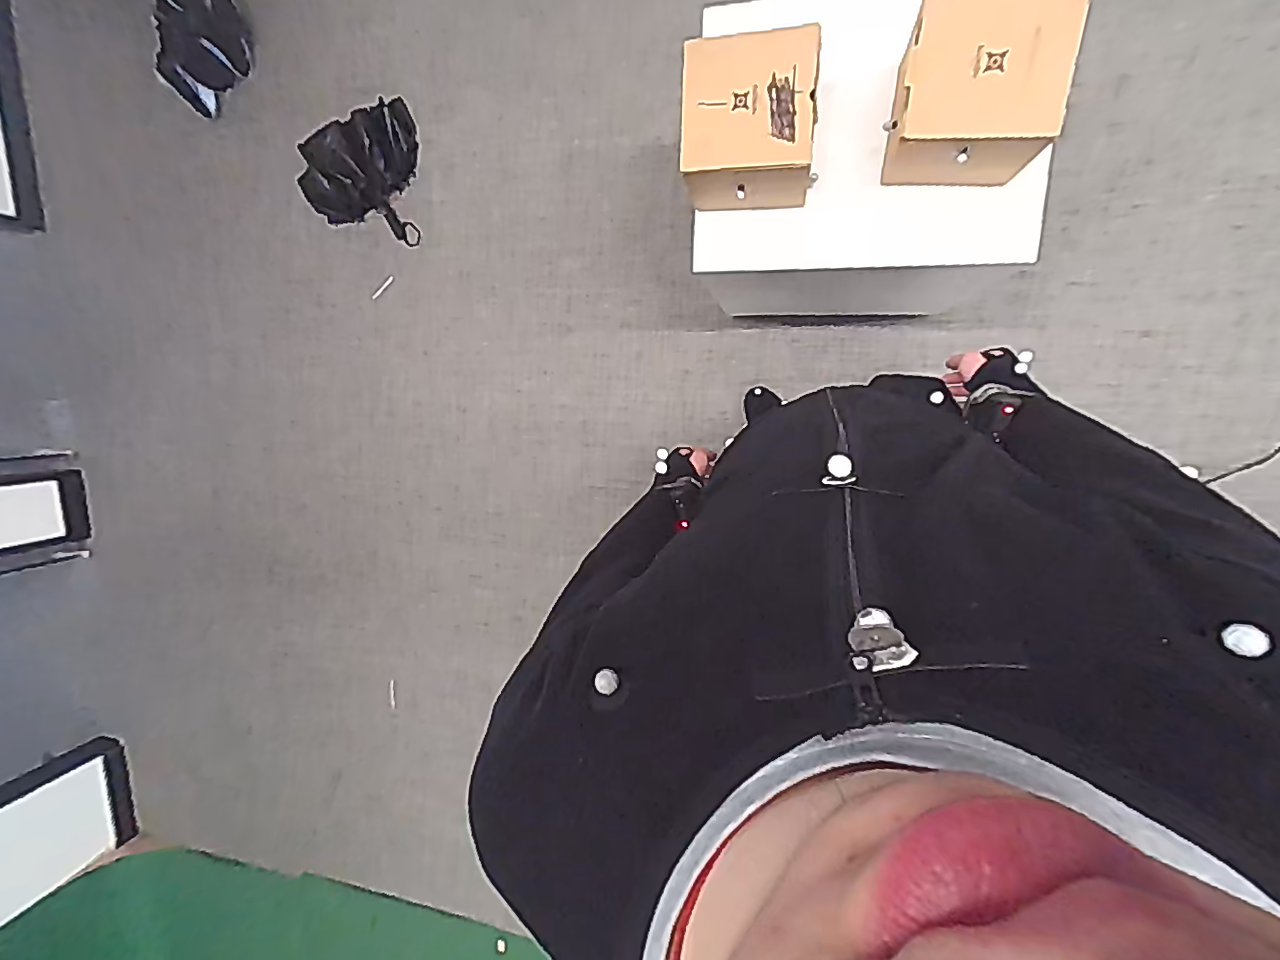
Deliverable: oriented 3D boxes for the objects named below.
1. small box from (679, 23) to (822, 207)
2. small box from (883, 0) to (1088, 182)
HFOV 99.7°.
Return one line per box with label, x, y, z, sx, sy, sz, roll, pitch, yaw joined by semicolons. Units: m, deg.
small box;0.160;-0.509;0.782;0.179;0.176;0.168;5;100;15
small box;0.433;-0.508;0.711;0.179;0.176;0.168;8;103;13
